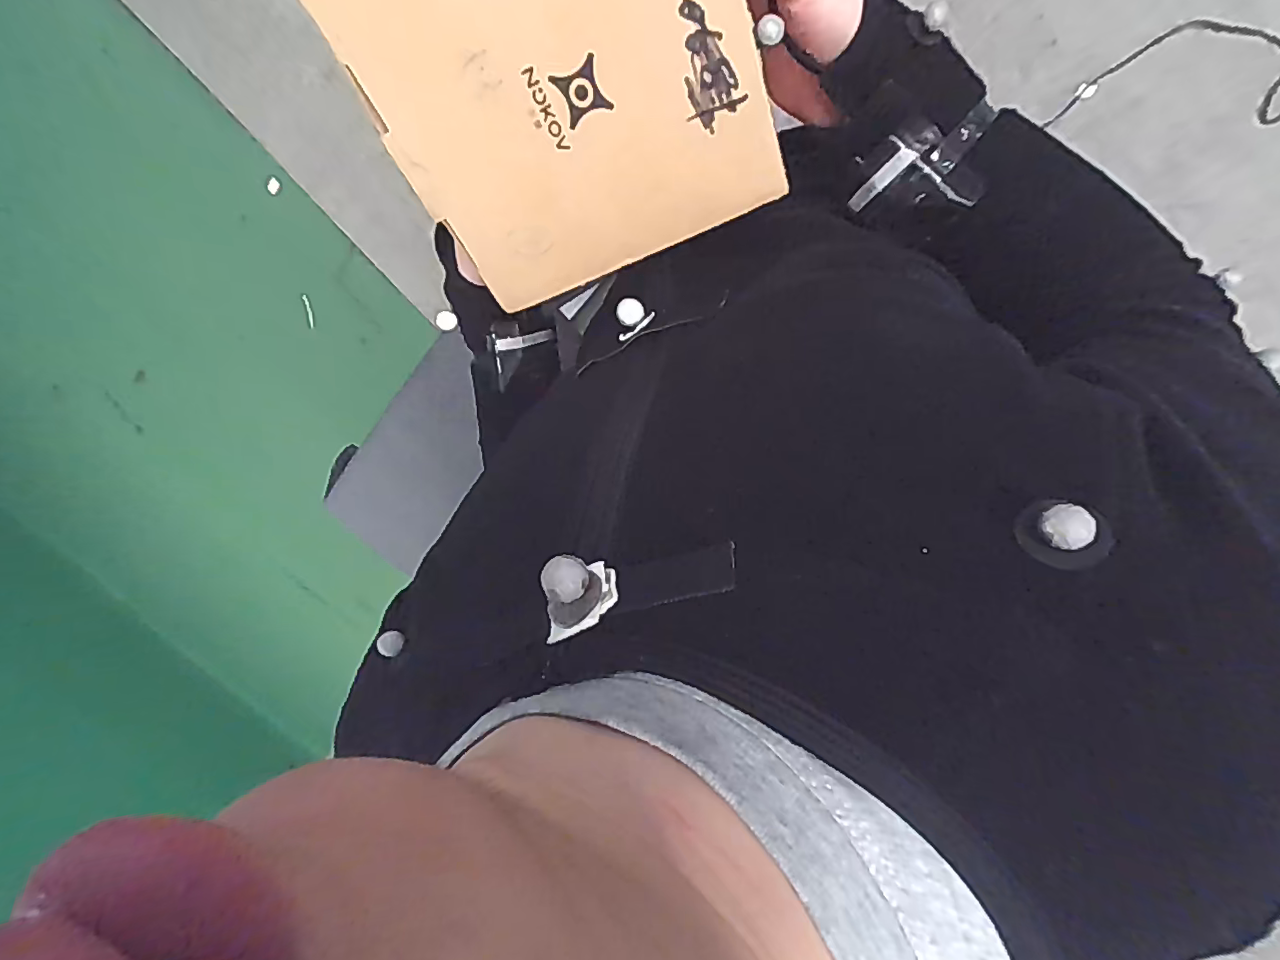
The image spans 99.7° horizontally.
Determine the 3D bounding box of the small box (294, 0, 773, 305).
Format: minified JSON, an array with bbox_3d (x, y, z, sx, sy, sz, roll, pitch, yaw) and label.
[{"bbox_3d":[-0.037,-0.235,0.305,0.179,0.176,0.168,-15,133,18],"label":"small box"}]
